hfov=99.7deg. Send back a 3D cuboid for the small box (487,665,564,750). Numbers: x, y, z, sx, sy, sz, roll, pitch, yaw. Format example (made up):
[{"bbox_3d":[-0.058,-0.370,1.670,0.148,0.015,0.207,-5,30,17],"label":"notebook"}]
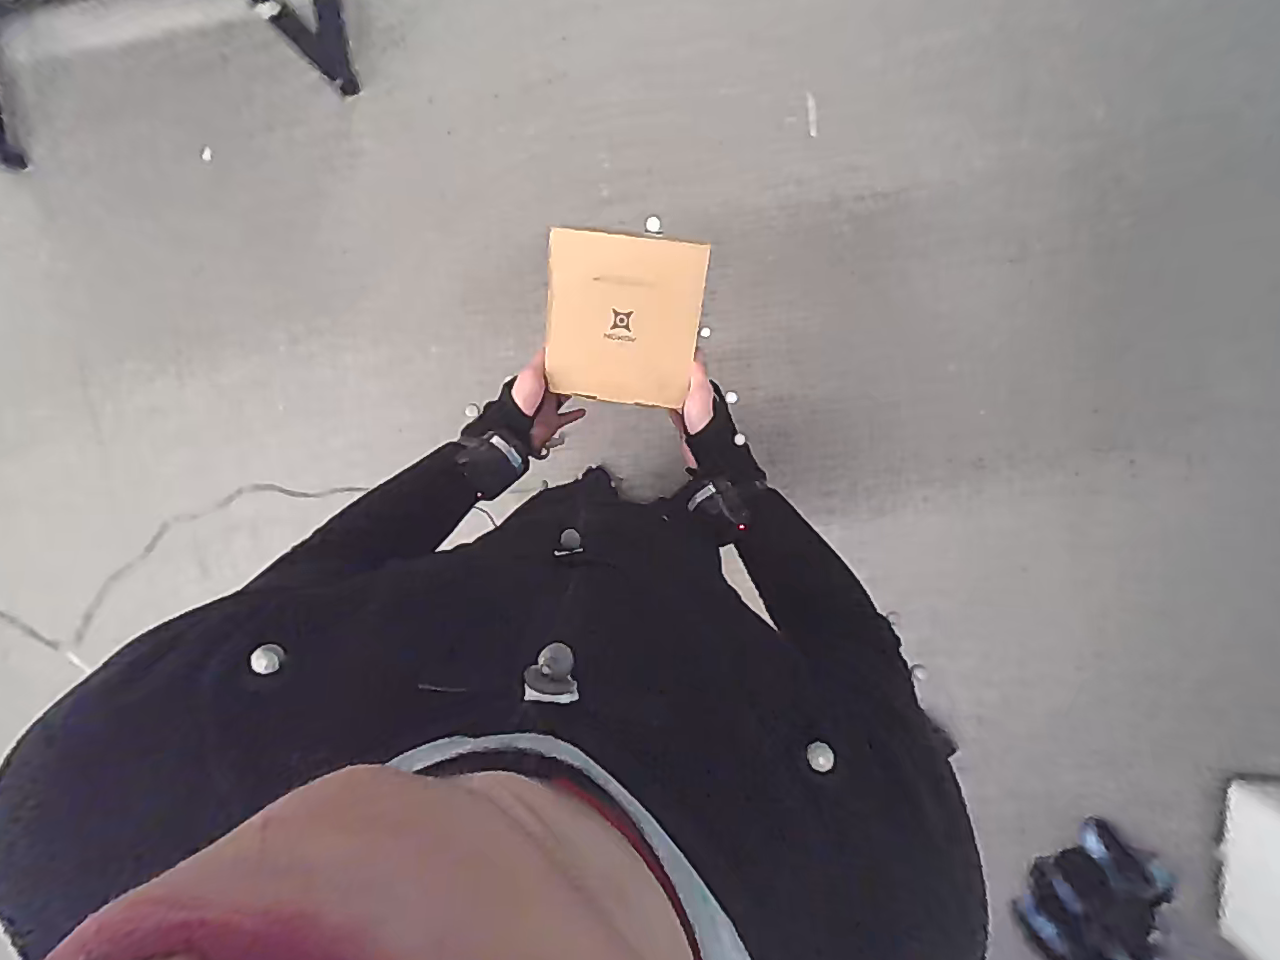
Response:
[{"bbox_3d":[-0.324,0.647,1.558,0.168,0.176,0.179,-8,92,6],"label":"small box"}]
